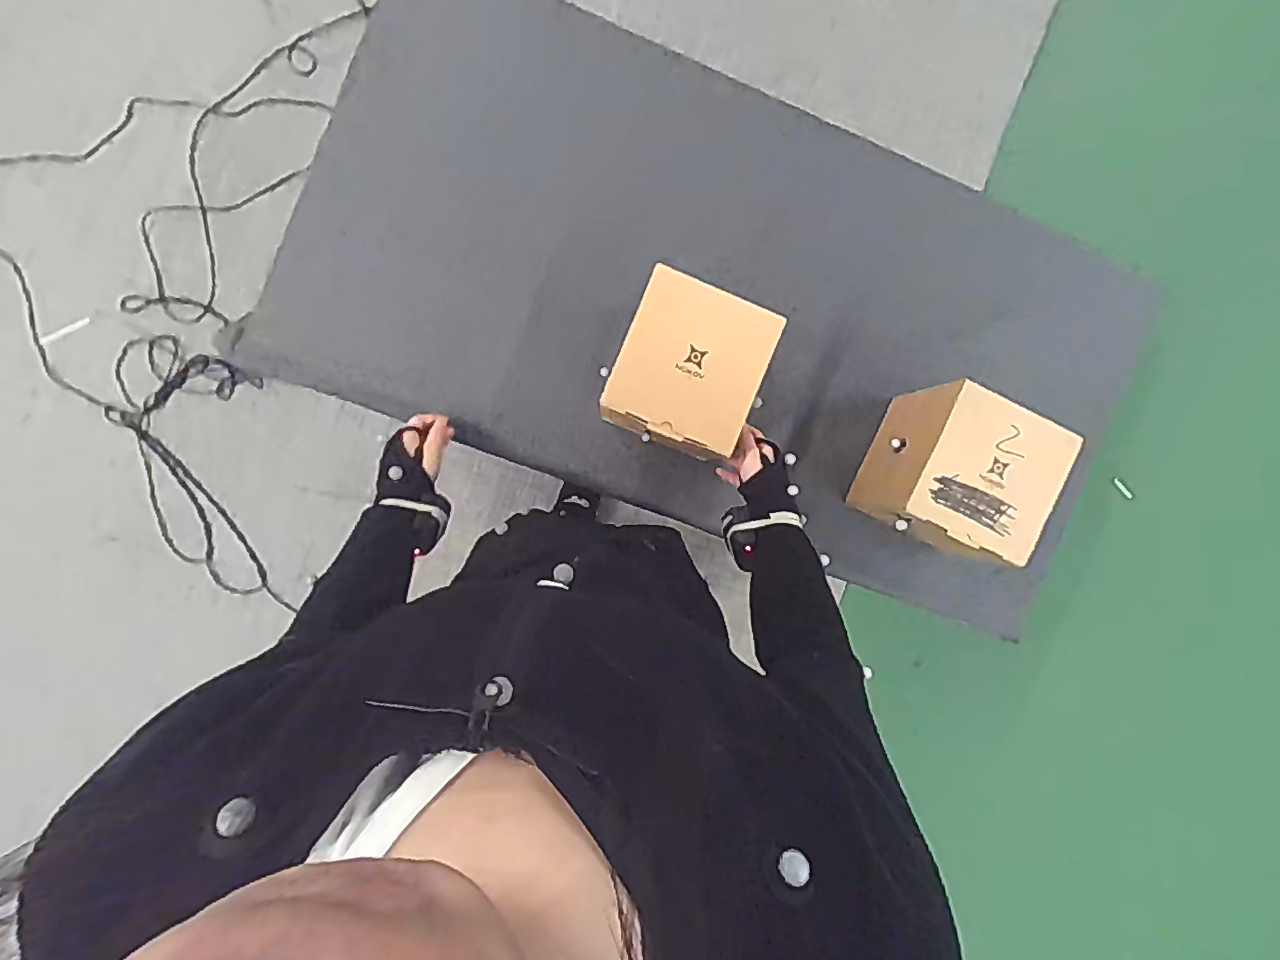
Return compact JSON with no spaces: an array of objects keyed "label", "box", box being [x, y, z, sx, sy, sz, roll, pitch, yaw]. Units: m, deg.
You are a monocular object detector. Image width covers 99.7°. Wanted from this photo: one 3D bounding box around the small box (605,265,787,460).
[{"label":"small box","box":[0.057,-0.136,0.693,0.168,0.176,0.179,22,90,-5]}]
